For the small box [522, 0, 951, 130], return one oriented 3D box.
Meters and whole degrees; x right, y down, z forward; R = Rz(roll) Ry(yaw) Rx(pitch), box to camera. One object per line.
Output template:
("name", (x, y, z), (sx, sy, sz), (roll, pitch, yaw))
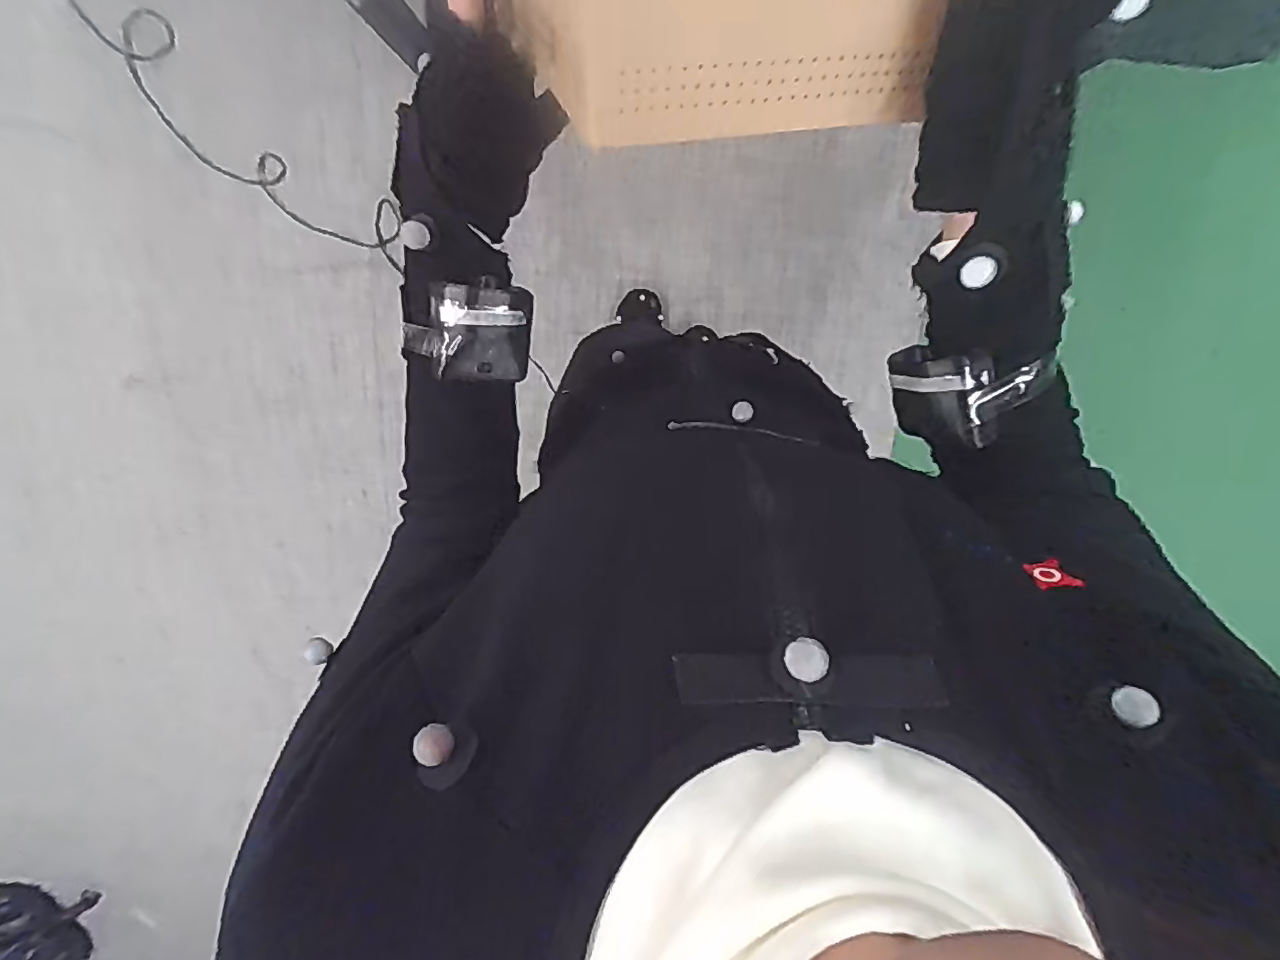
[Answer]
("small box", (0.039, -0.276, 0.231), (0.179, 0.168, 0.176), (-14, 144, -13))
